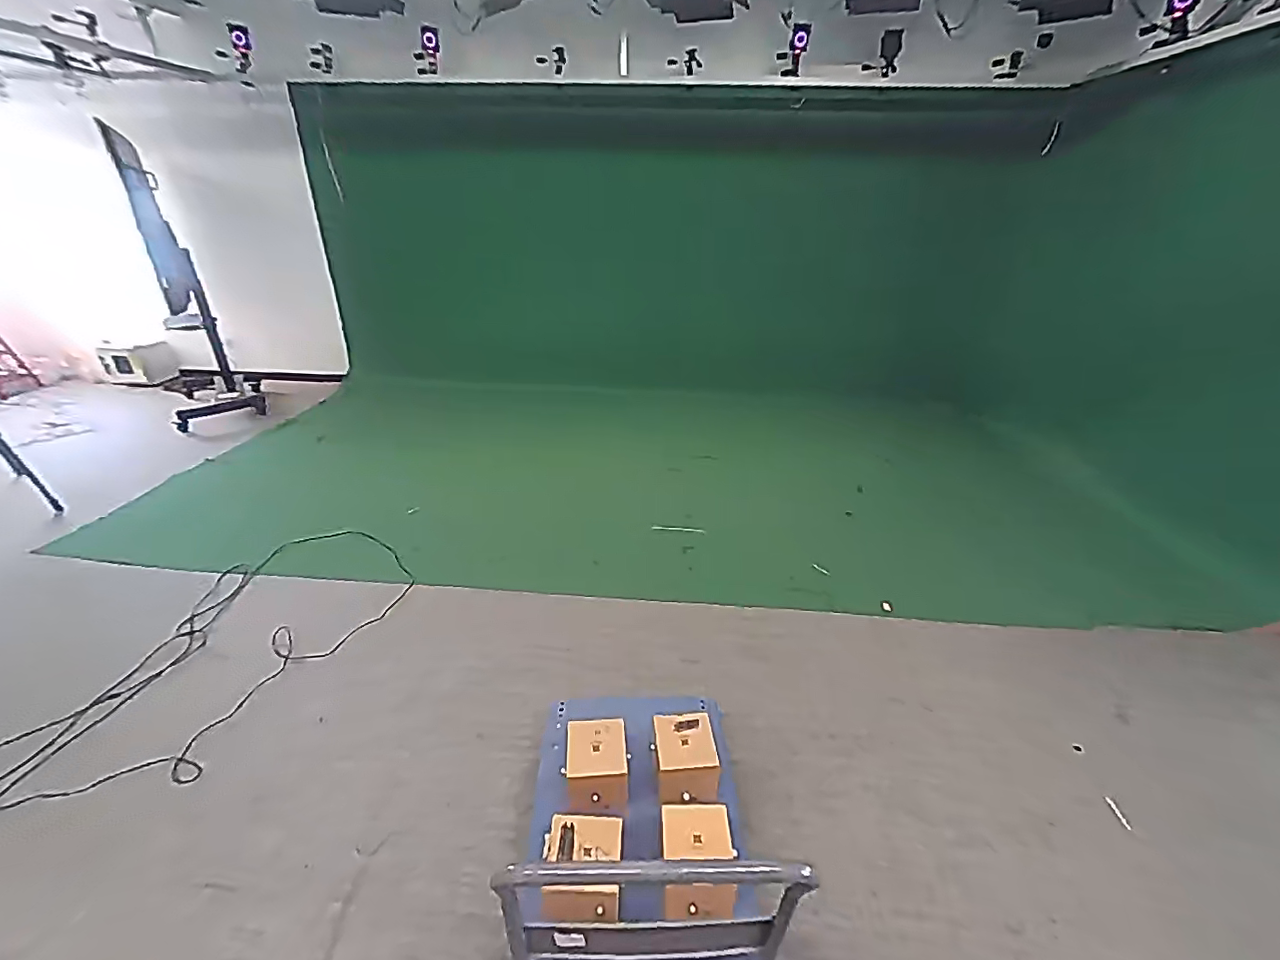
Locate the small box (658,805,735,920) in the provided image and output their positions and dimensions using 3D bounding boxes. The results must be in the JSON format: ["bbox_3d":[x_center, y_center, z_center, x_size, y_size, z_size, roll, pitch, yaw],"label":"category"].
[{"bbox_3d":[0.132,0.939,1.332,0.168,0.176,0.179,1,28,-2],"label":"small box"}]

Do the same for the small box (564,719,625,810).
[{"bbox_3d":[-0.128,0.816,1.545,0.168,0.176,0.179,0,28,-5],"label":"small box"}]

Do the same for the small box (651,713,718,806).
[{"bbox_3d":[0.123,0.810,1.570,0.168,0.176,0.179,-2,29,-5],"label":"small box"}]
